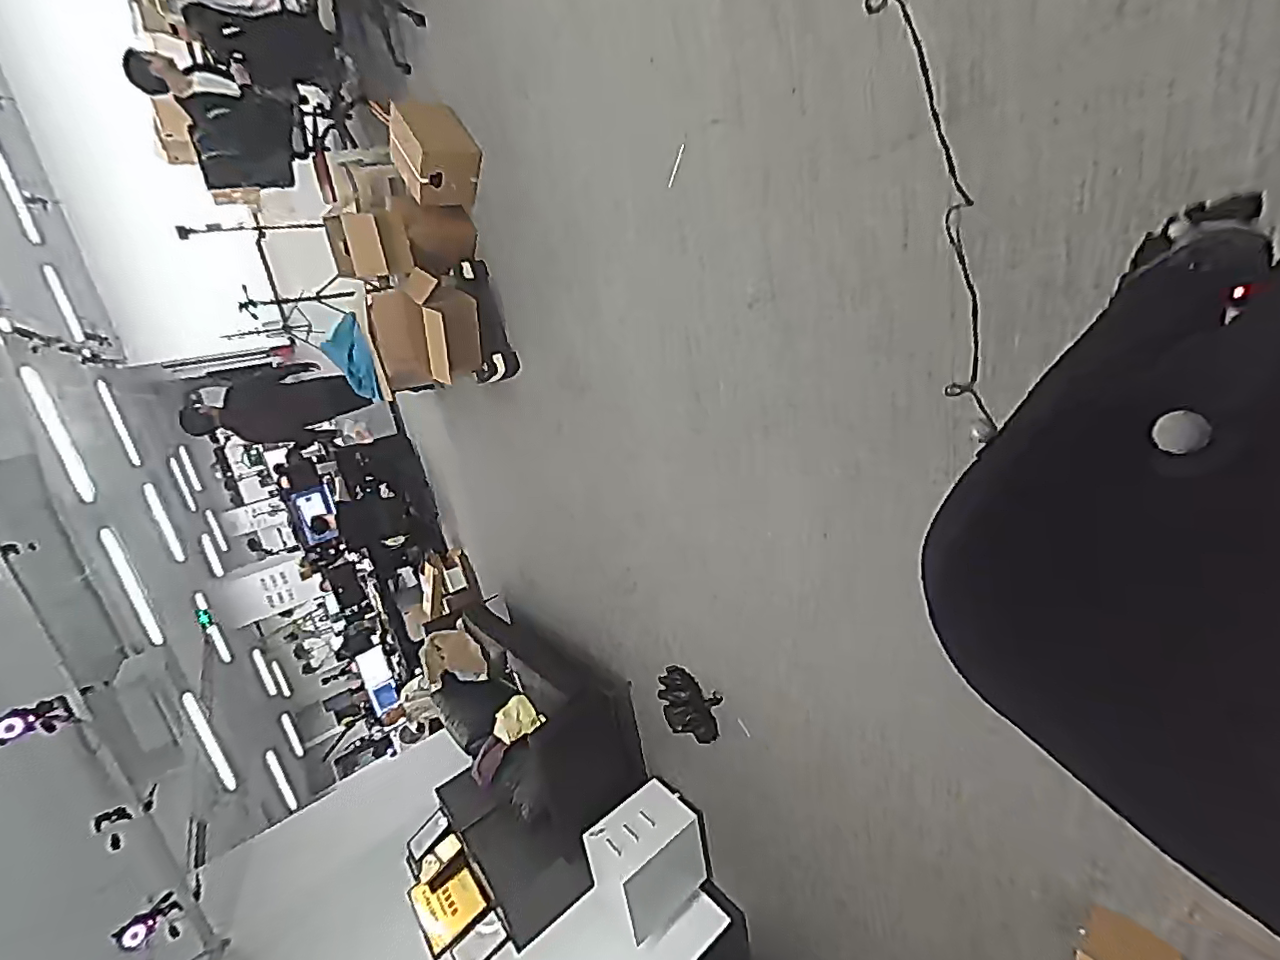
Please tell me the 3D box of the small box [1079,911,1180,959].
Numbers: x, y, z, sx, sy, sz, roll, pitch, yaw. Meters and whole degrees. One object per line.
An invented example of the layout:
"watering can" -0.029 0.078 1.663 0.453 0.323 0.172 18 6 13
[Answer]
"small box" 1.271 1.293 1.409 0.179 0.176 0.168 16 120 51
